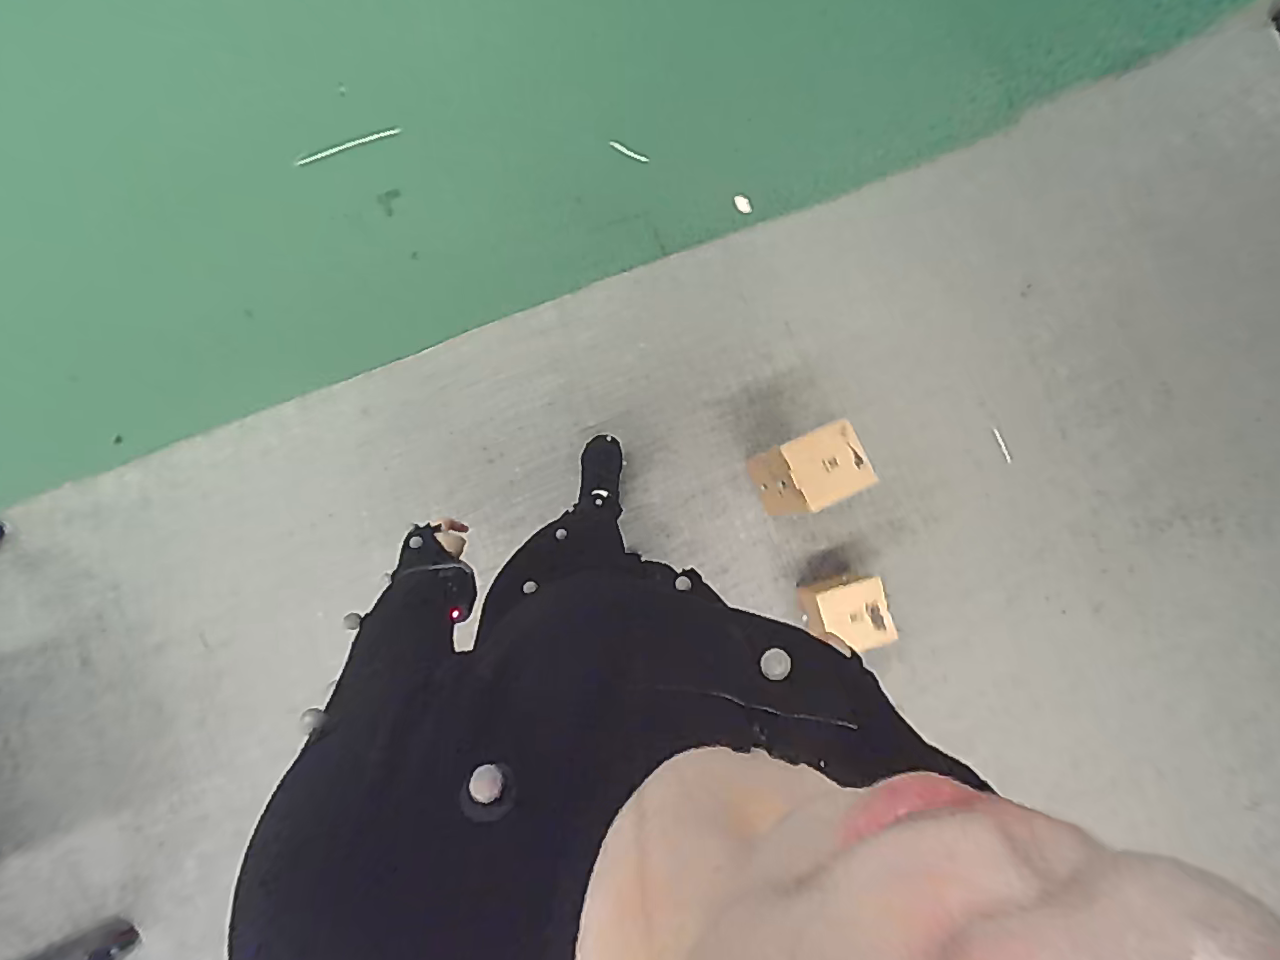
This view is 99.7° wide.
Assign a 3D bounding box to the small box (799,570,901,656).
[{"bbox_3d":[0.549,0.344,1.433,0.179,0.176,0.168,-16,86,-2],"label":"small box"}]

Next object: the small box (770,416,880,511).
[{"bbox_3d":[0.429,-0.032,1.295,0.179,0.176,0.168,-24,86,-3],"label":"small box"}]
